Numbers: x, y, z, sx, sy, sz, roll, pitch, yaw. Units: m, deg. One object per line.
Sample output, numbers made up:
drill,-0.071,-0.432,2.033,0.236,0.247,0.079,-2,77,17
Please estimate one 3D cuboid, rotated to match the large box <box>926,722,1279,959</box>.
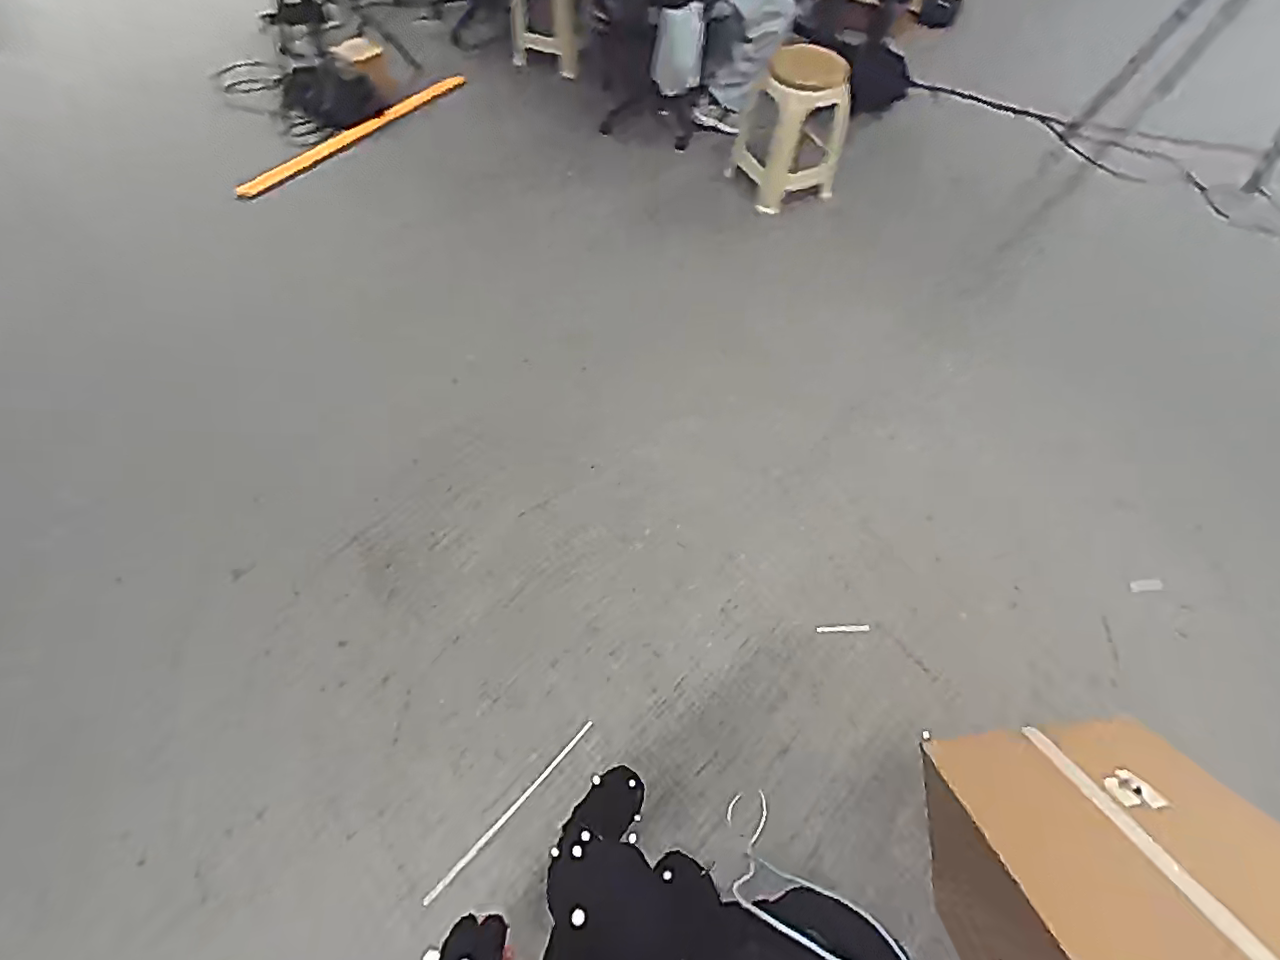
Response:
large box,0.610,0.572,0.657,0.320,0.408,0.320,-9,101,4
